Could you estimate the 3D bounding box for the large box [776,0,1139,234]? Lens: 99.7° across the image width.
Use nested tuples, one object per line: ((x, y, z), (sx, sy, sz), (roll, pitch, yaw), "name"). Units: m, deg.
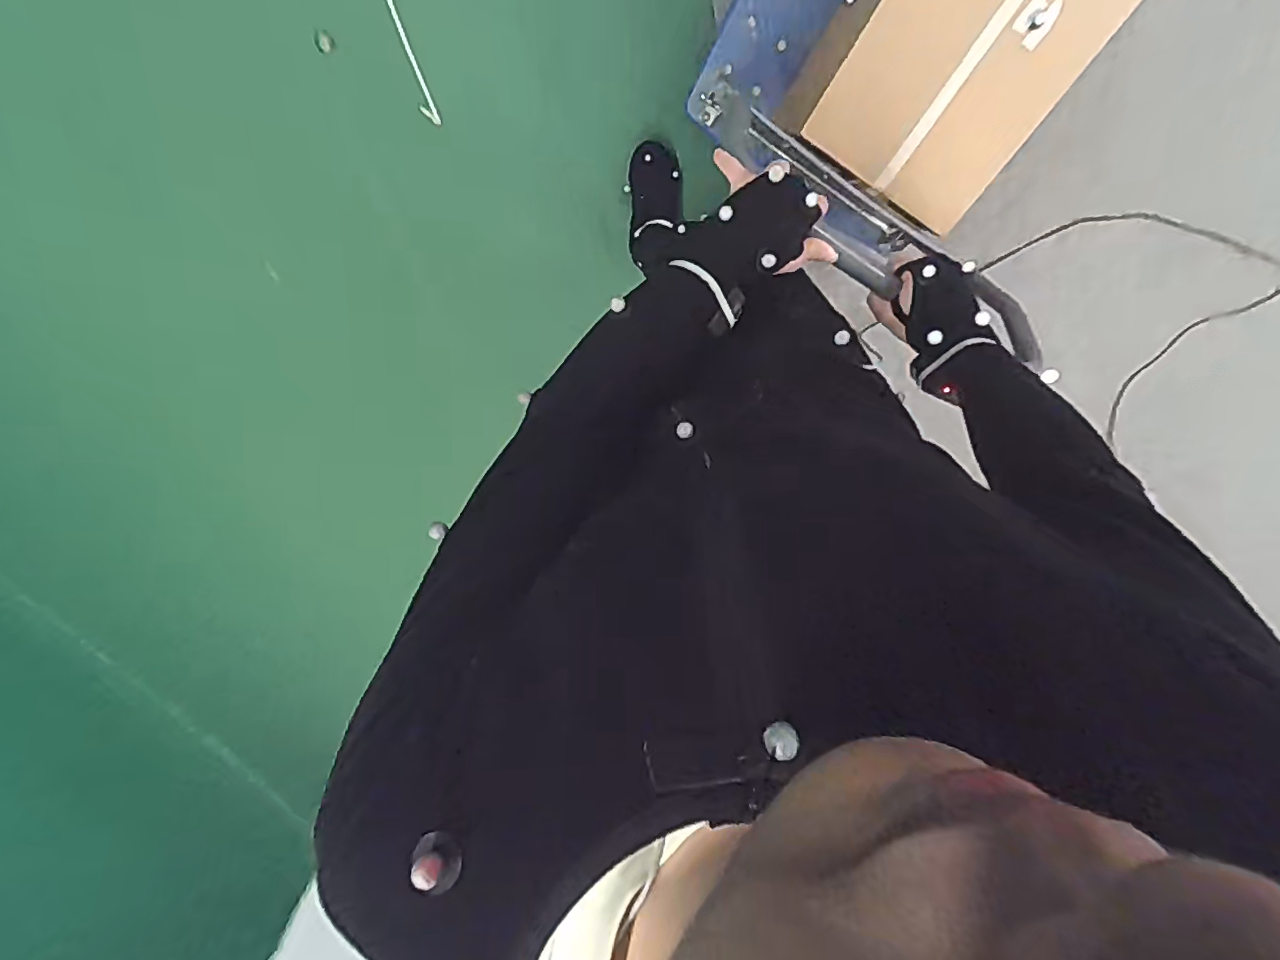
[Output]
((0.487, -0.697, 0.901), (0.320, 0.320, 0.408), (26, 121, -15), "large box")
